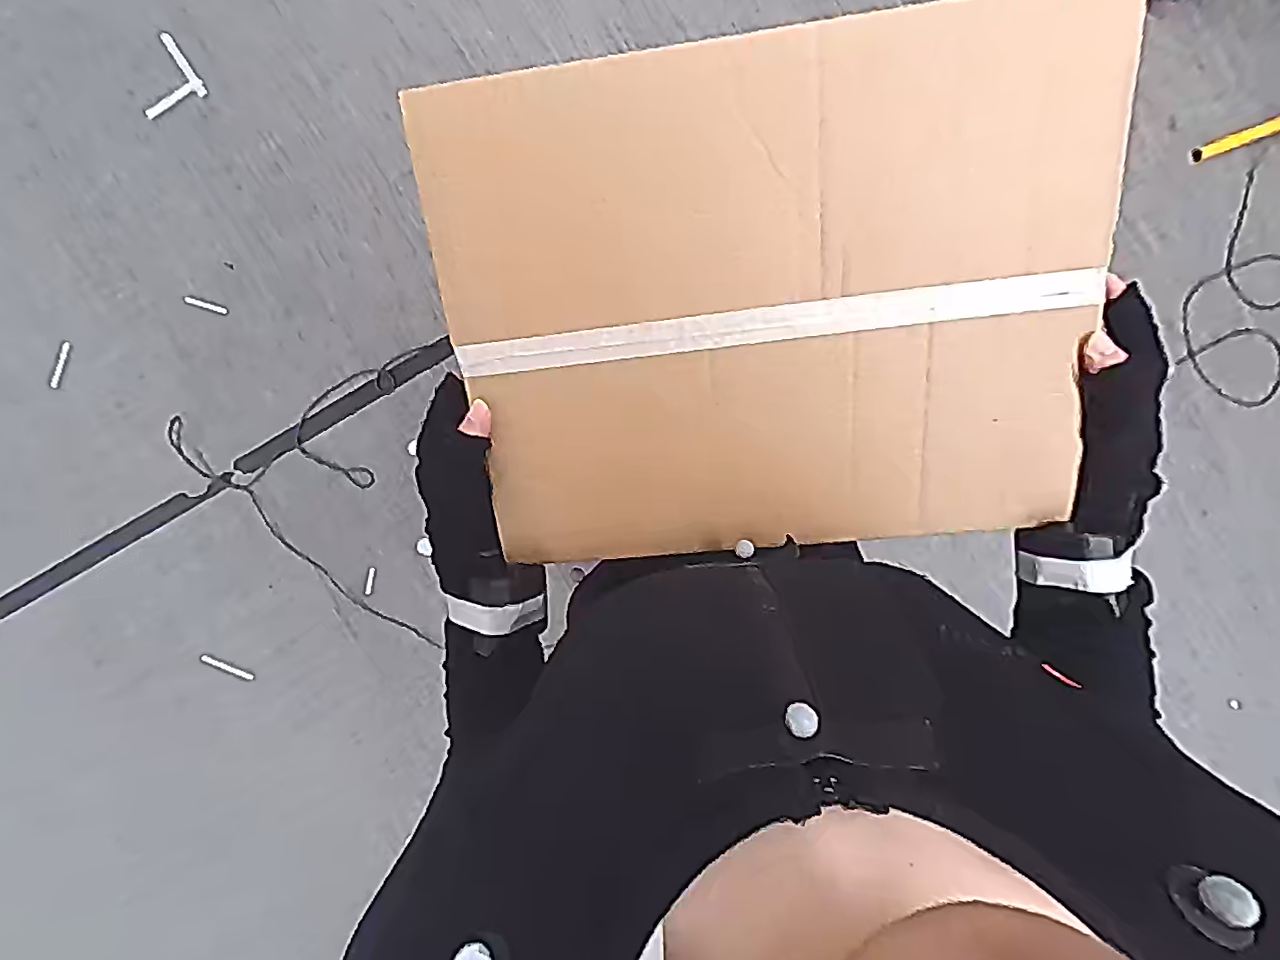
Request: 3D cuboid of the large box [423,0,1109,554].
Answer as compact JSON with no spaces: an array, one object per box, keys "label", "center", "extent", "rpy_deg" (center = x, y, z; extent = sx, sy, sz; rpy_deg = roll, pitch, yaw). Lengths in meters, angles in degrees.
[{"label":"large box","center":[0.086,-0.154,0.501],"extent":[0.408,0.320,0.320],"rpy_deg":[-5,110,5]}]
